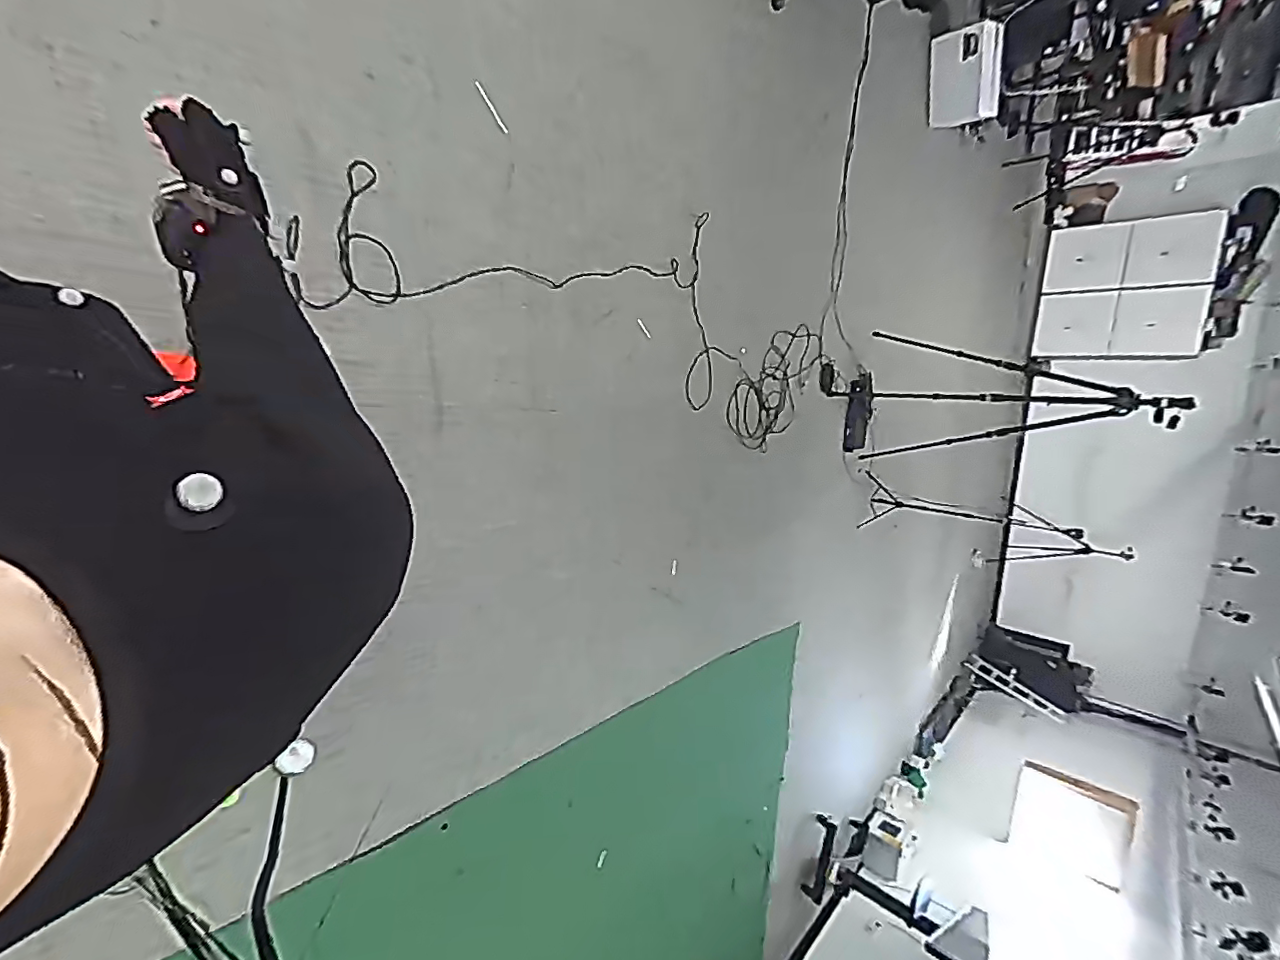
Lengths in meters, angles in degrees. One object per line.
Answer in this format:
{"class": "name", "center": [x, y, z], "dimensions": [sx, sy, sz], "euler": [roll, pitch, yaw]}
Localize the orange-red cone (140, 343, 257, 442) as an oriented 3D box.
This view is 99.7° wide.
{"class": "orange-red cone", "center": [-0.842, -0.157, 1.072], "dimensions": [0.198, 0.360, 0.199], "euler": [1, 99, -46]}
